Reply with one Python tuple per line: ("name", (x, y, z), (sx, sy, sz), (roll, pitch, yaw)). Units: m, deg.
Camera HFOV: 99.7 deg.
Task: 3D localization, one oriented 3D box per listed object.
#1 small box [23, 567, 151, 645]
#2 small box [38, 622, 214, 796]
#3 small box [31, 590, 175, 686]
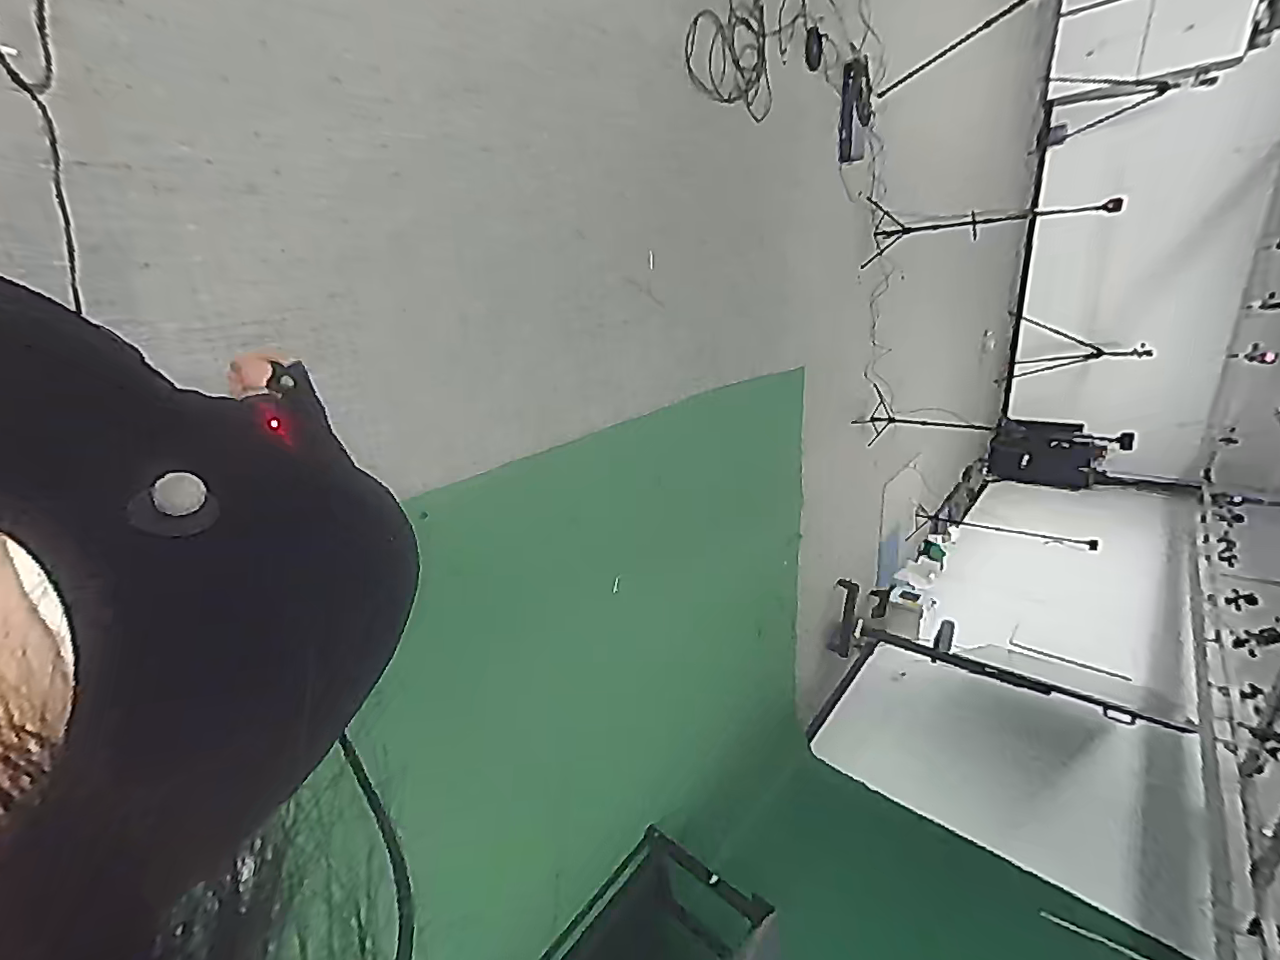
("small box", (-1.019, 0.291, 1.030), (0.168, 0.176, 0.179), (-26, 117, -43))
("small box", (-0.775, 0.324, 0.815), (0.168, 0.176, 0.179), (7, 94, -49))
("small box", (-0.893, 0.305, 0.925), (0.168, 0.176, 0.179), (-24, 117, -43))
